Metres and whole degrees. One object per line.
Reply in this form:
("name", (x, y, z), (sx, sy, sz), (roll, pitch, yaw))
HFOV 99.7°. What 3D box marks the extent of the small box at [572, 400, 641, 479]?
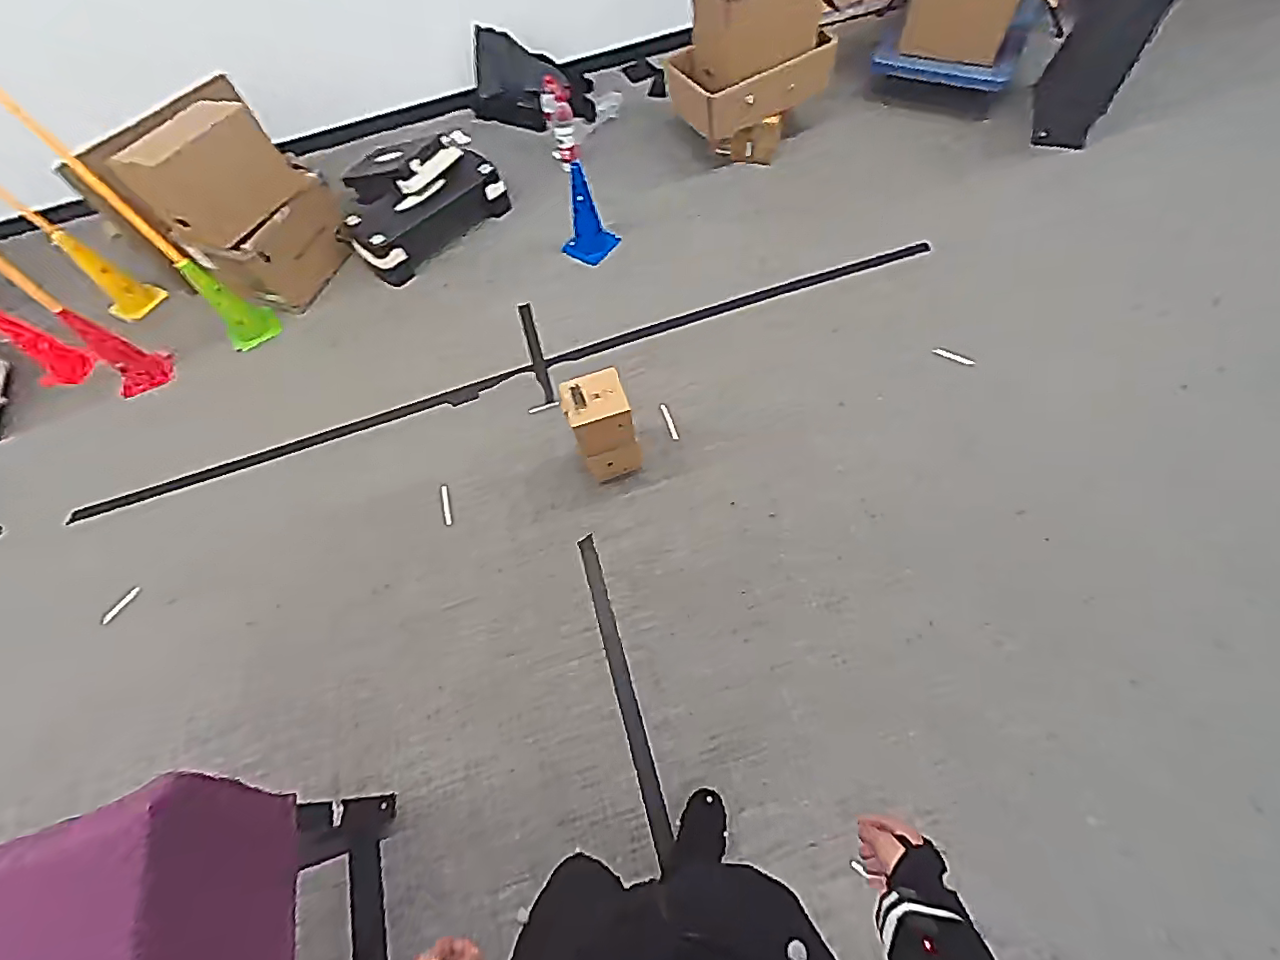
("small box", (-0.104, -0.122, 1.751), (0.168, 0.176, 0.179), (-21, 62, -5))
